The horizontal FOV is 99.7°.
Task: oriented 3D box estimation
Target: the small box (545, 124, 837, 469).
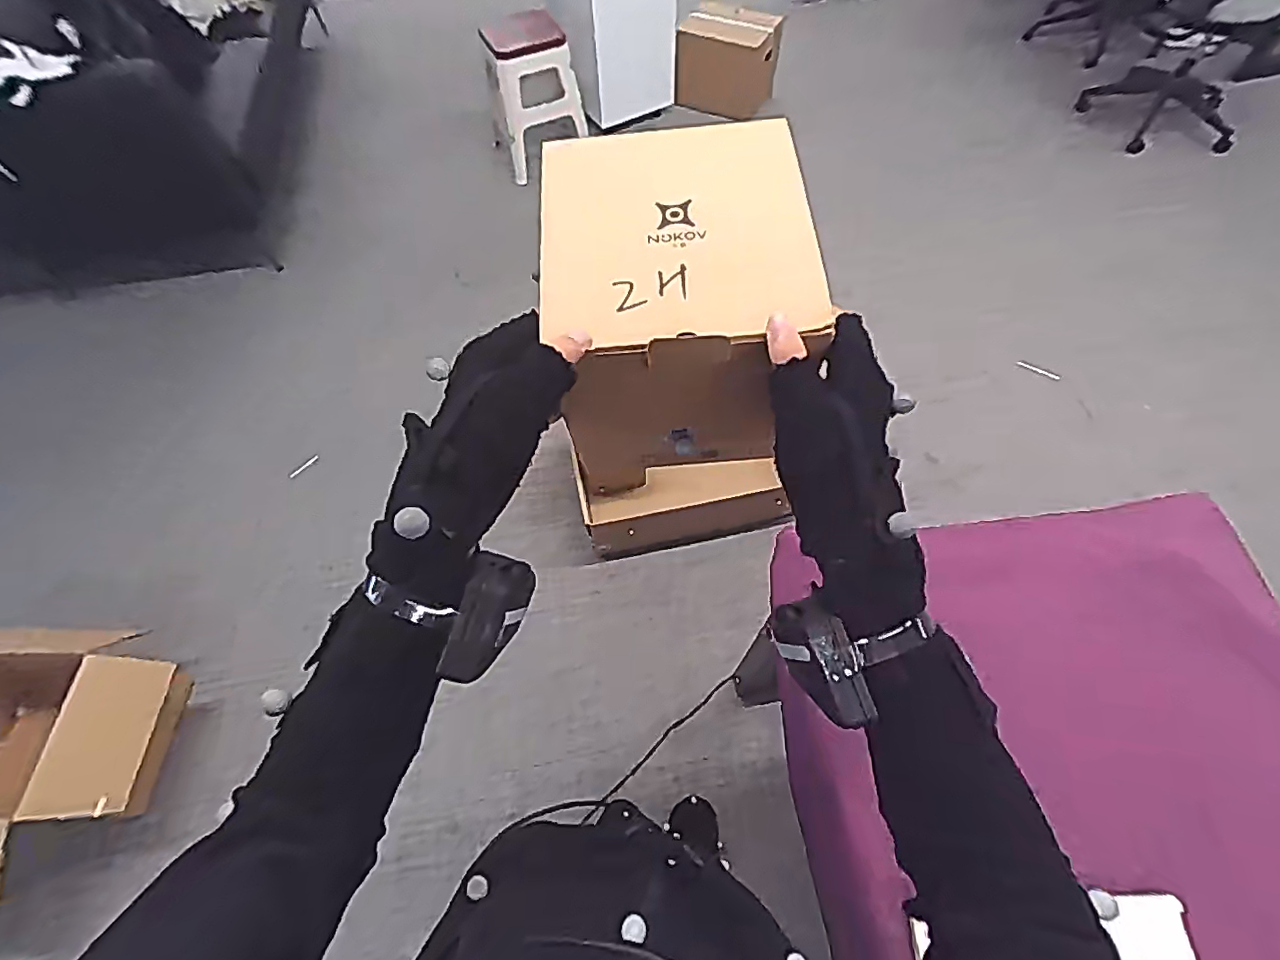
[{"bbox_3d":[0.028,-0.124,0.406,0.168,0.176,0.179,-4,67,2],"label":"small box"}]
